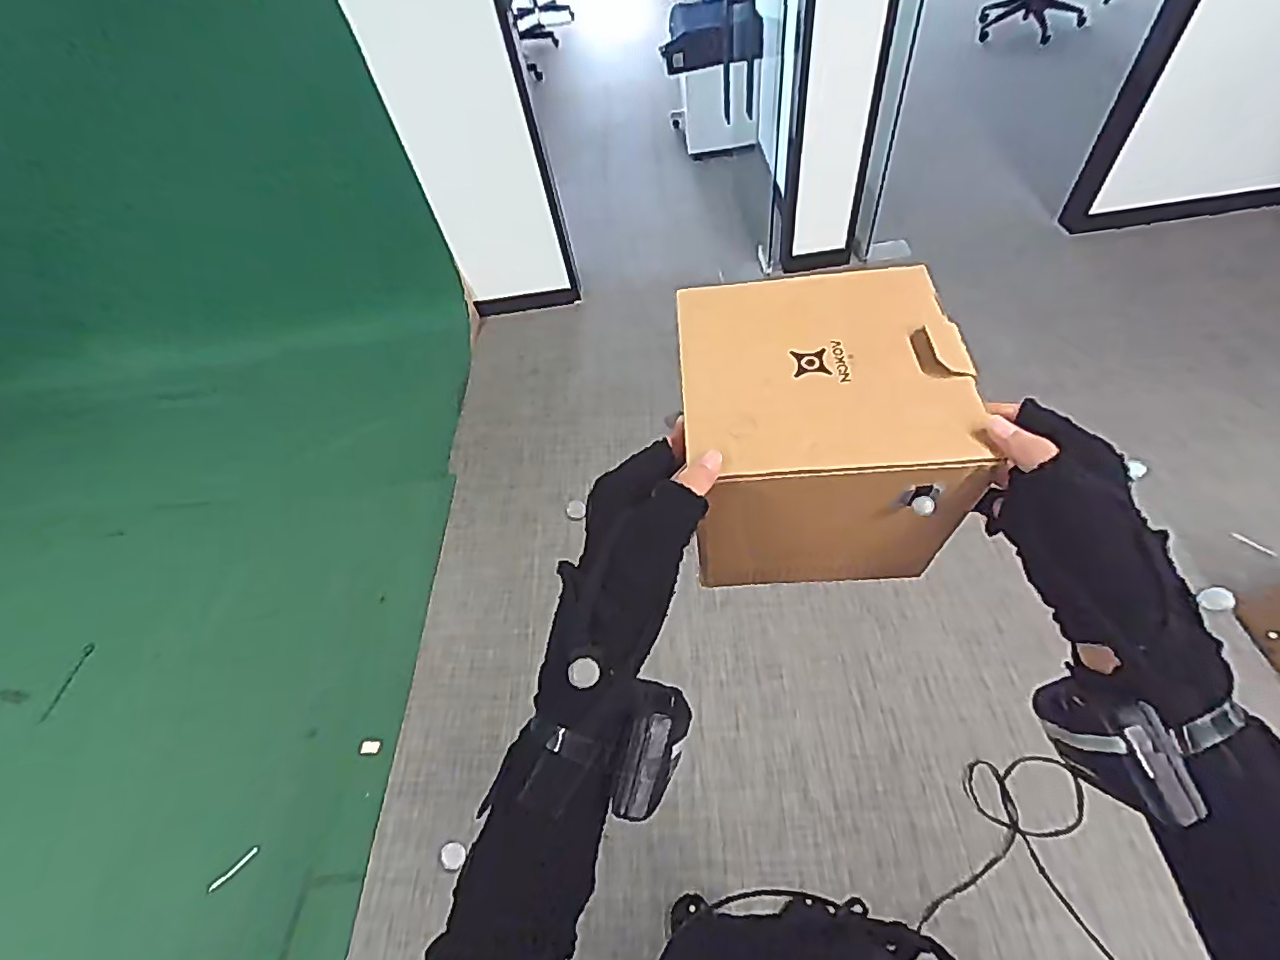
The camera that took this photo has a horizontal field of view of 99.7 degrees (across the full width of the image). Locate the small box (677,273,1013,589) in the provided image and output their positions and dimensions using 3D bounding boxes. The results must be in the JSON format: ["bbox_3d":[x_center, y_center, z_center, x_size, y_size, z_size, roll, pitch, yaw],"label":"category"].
[{"bbox_3d":[0.123,-0.025,0.404,0.179,0.176,0.168,-4,57,5],"label":"small box"}]

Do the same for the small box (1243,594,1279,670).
[{"bbox_3d":[1.551,0.334,1.211,0.179,0.176,0.168,-6,52,6],"label":"small box"}]
